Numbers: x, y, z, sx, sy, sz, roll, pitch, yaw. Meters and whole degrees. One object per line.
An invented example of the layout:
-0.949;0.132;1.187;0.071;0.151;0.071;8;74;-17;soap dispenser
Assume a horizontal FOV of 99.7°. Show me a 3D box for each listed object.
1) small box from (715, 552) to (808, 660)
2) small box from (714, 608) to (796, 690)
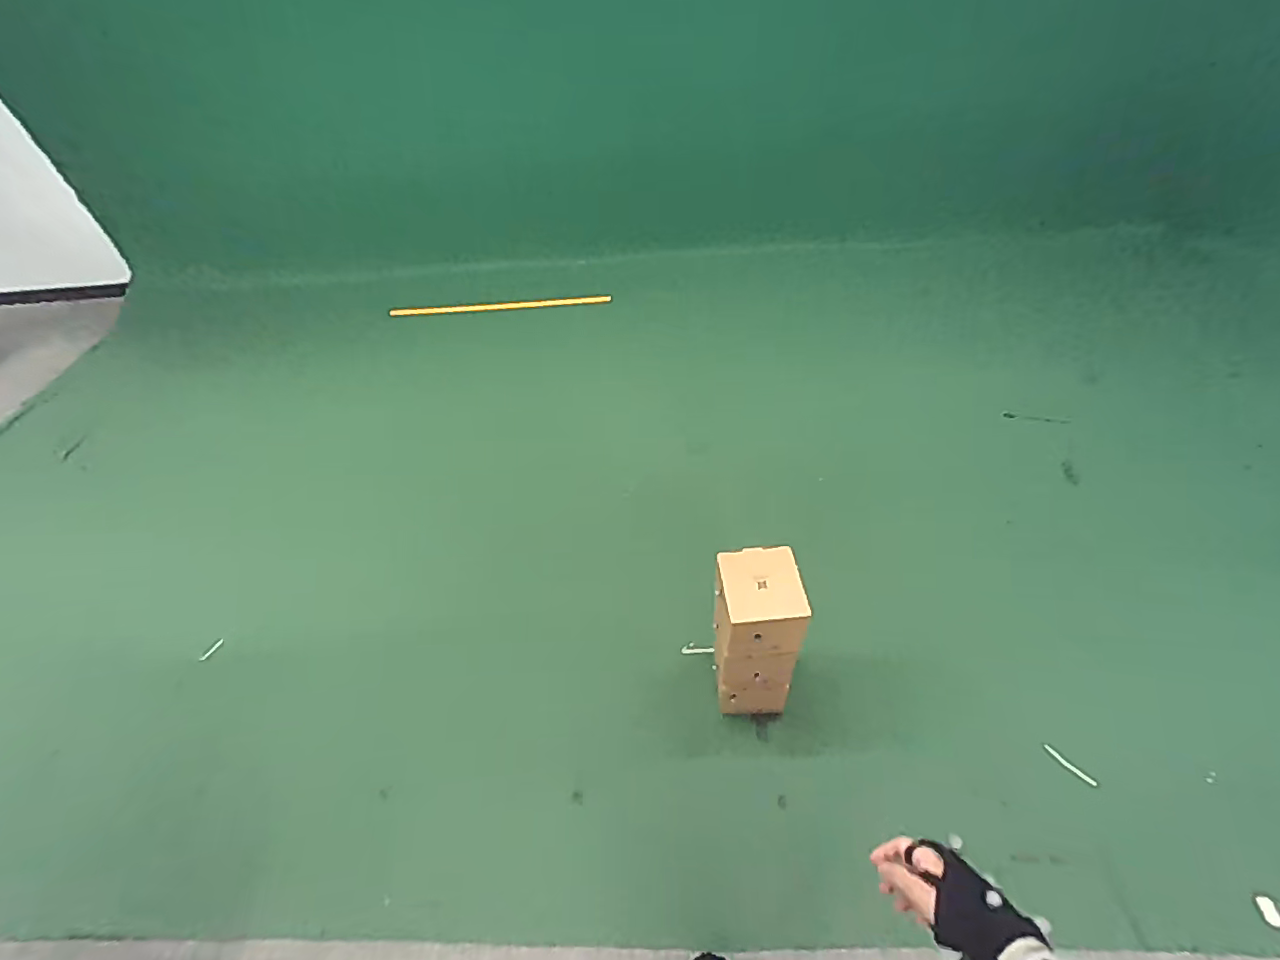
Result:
0.261;0.285;1.202;0.168;0.176;0.179;-6;46;0;small box
0.273;0.393;1.323;0.168;0.176;0.179;-5;47;3;small box
